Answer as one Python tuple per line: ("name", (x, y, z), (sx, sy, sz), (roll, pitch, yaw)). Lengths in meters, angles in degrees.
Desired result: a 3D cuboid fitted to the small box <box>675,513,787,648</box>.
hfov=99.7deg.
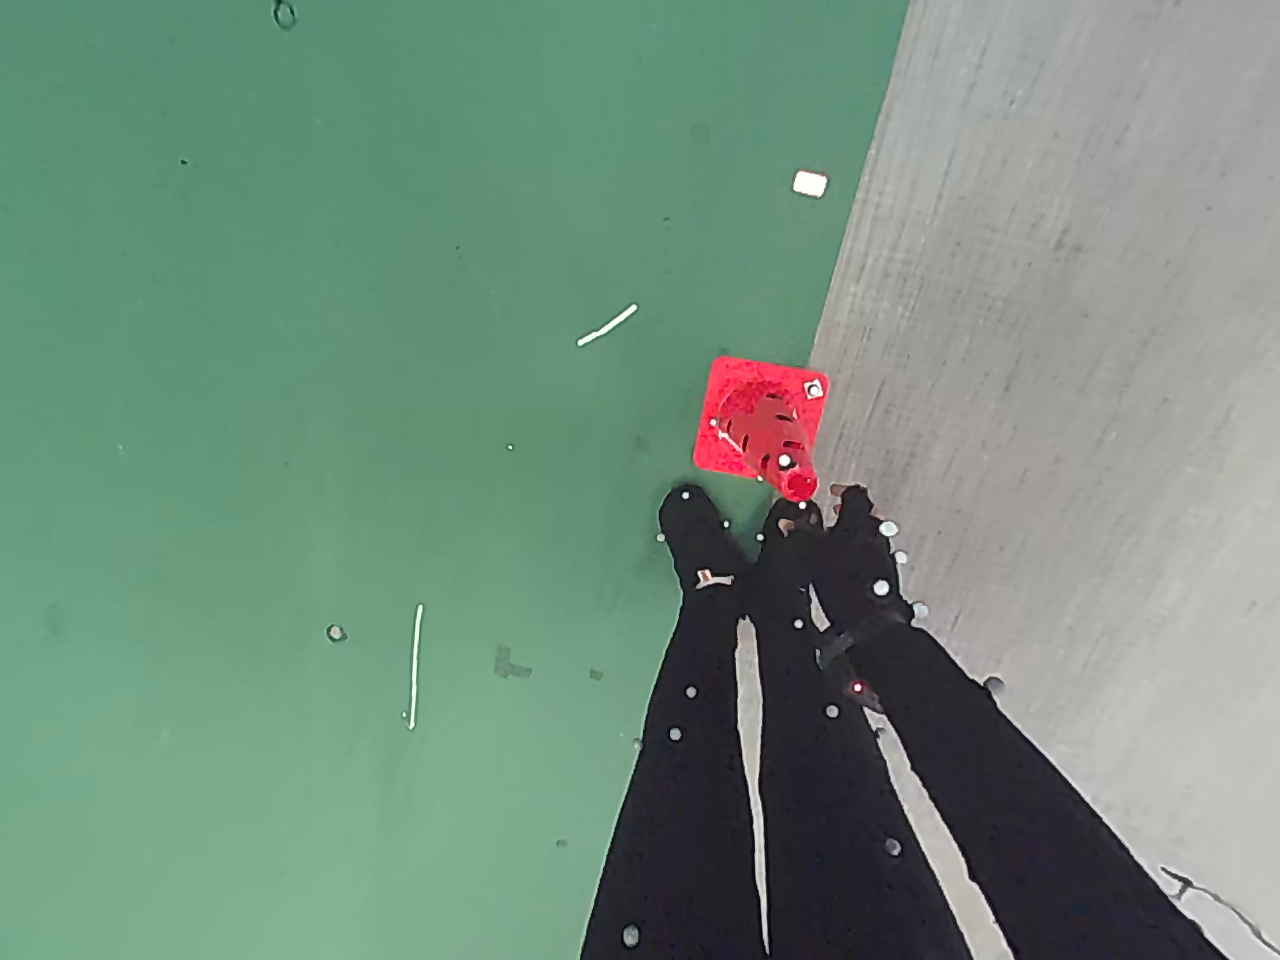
("small box", (0.156, 0.175, 0.977), (0.168, 0.176, 0.179), (-4, 111, -3))
